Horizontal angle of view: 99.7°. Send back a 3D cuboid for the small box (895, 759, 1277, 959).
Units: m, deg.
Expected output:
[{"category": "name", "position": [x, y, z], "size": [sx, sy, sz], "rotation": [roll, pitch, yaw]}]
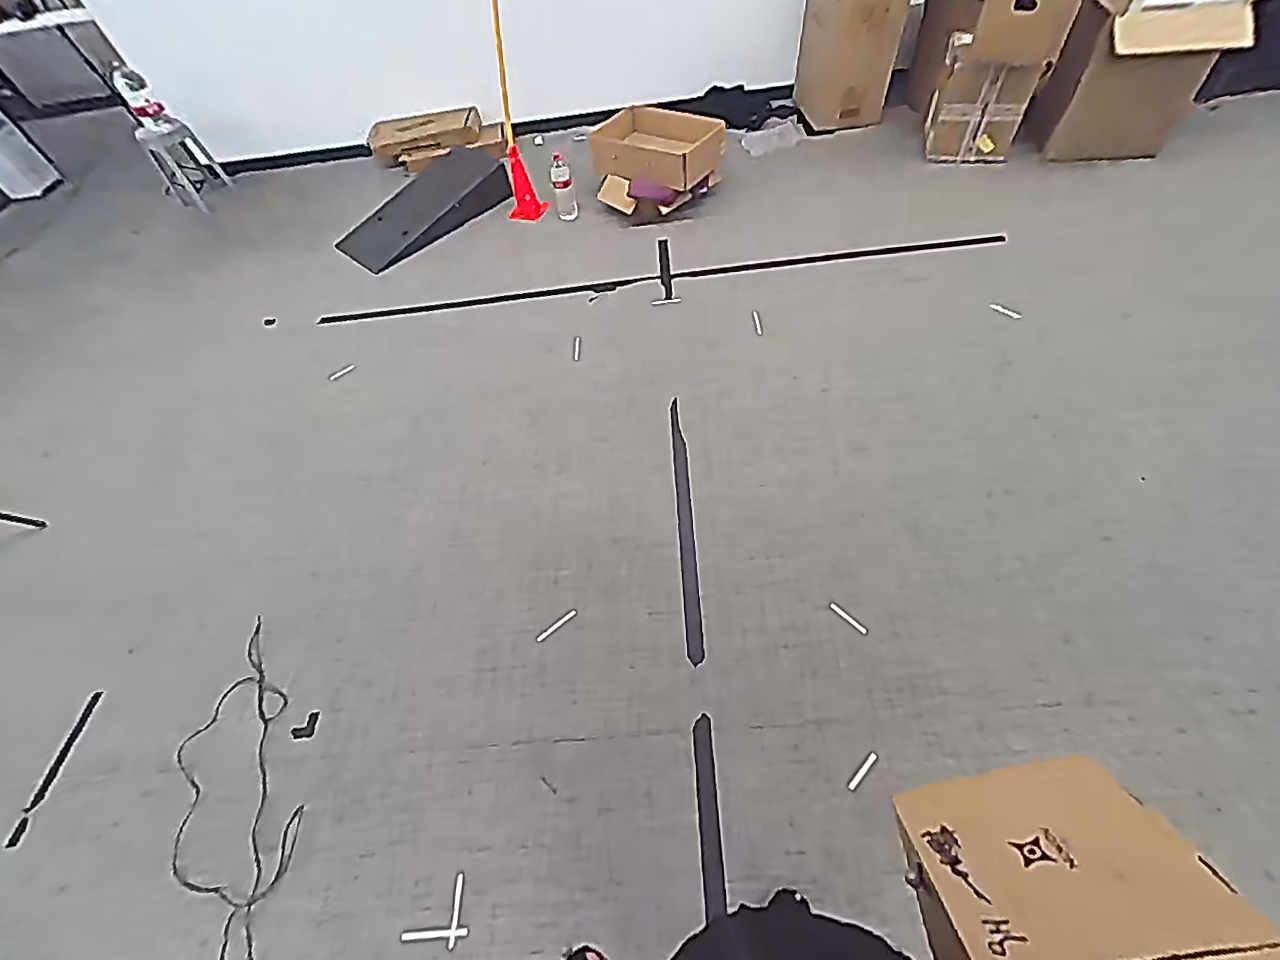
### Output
[{"category": "small box", "position": [0.336, 0.365, 0.431], "size": [0.179, 0.168, 0.176], "rotation": [-16, 98, 7]}]
